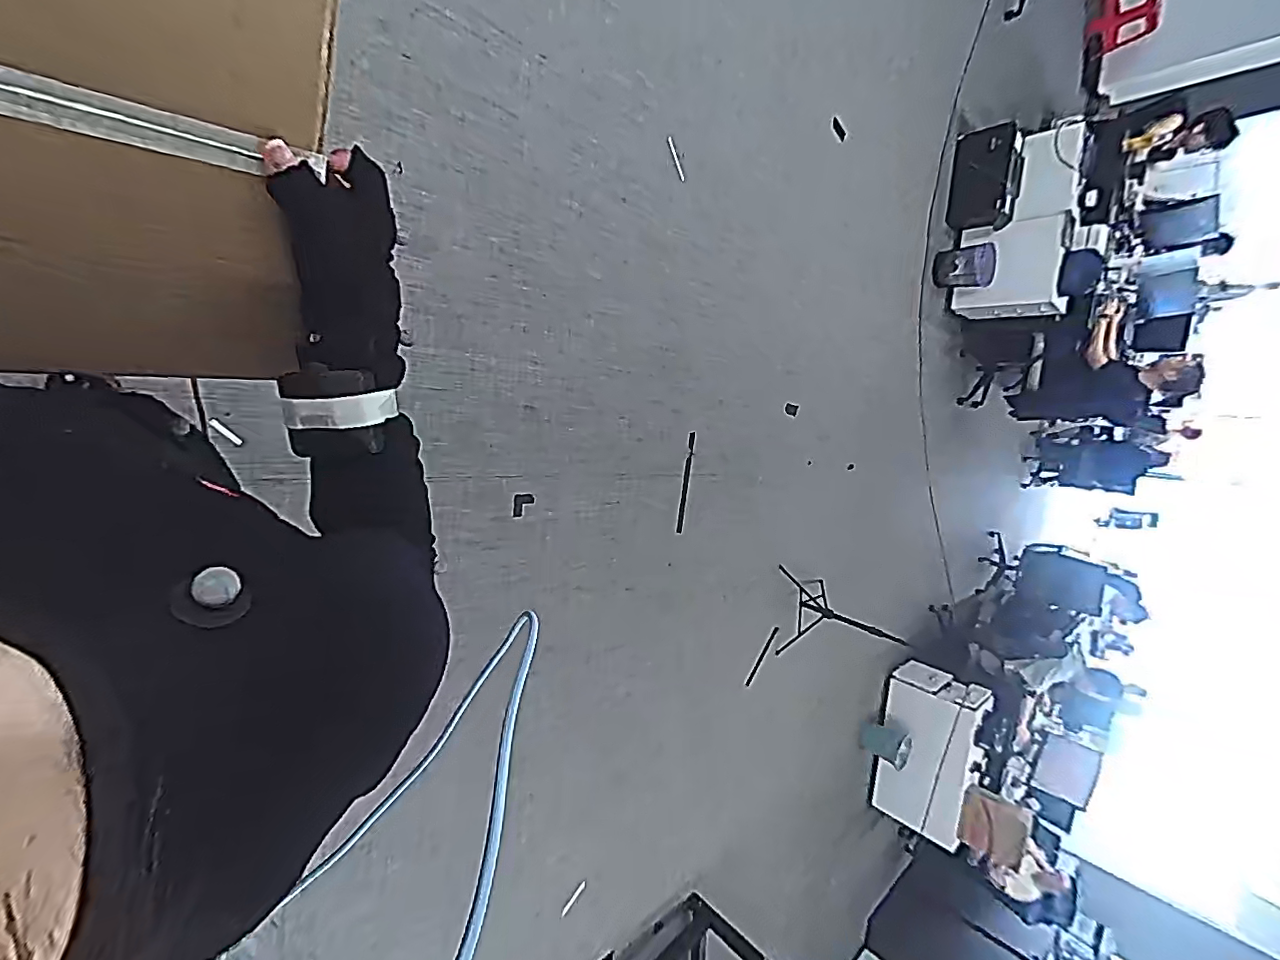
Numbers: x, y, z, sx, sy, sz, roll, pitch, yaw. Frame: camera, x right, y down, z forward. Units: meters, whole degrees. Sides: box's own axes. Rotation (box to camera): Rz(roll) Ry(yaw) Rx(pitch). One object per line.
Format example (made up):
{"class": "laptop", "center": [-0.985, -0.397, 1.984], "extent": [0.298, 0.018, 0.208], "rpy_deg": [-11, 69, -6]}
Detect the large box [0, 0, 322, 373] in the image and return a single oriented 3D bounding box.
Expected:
{"class": "large box", "center": [-0.444, -0.276, 0.300], "extent": [0.408, 0.320, 0.320], "rpy_deg": [-8, 135, -44]}
